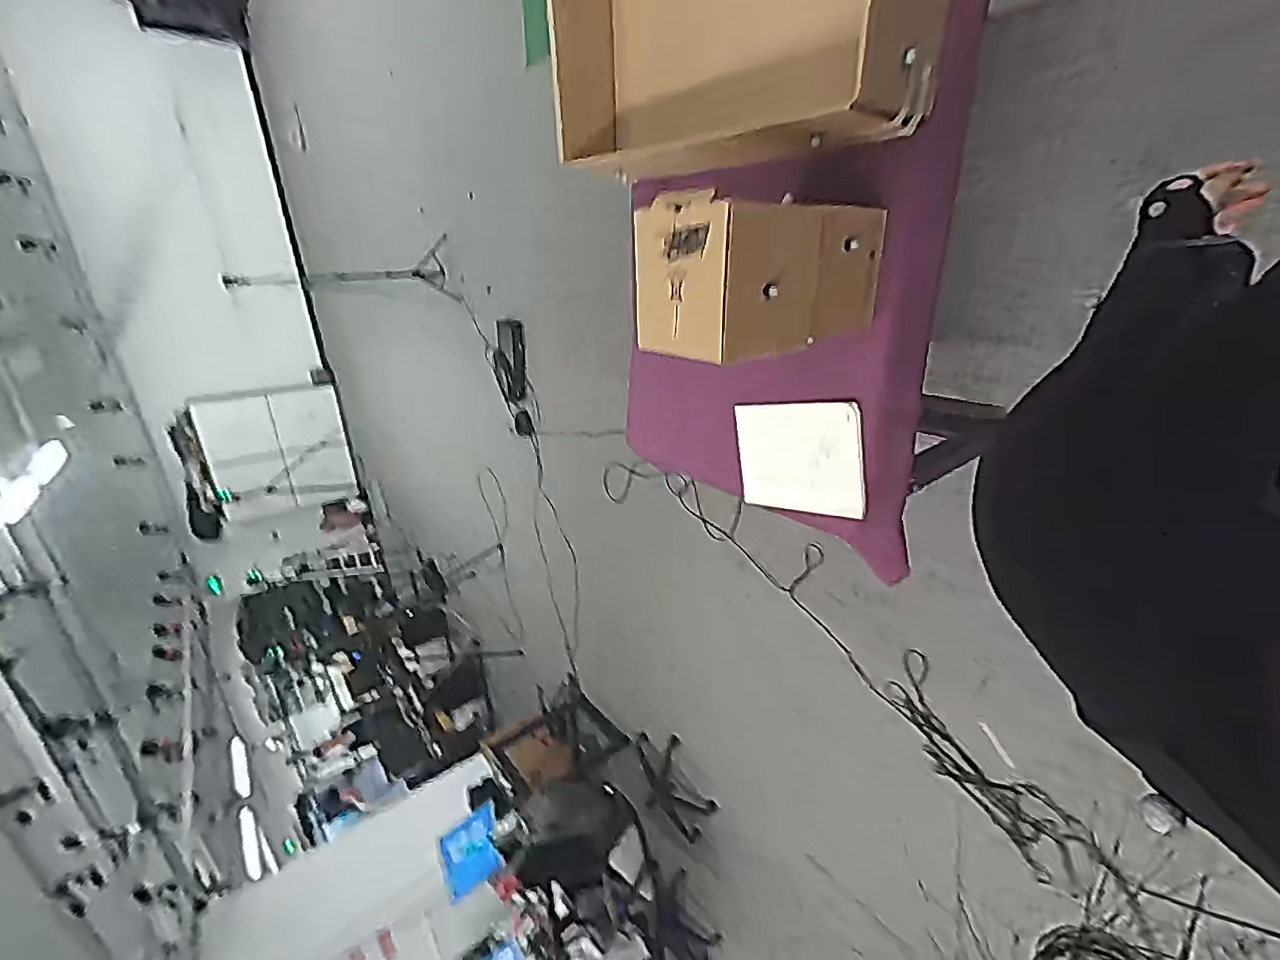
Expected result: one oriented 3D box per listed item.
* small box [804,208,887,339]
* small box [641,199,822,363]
[{"bbox_3d":[0.240,-0.311,0.808,0.179,0.176,0.168,26,124,48],"label":"small box"},{"bbox_3d":[0.118,-0.261,0.710,0.168,0.176,0.179,26,125,48],"label":"small box"}]
